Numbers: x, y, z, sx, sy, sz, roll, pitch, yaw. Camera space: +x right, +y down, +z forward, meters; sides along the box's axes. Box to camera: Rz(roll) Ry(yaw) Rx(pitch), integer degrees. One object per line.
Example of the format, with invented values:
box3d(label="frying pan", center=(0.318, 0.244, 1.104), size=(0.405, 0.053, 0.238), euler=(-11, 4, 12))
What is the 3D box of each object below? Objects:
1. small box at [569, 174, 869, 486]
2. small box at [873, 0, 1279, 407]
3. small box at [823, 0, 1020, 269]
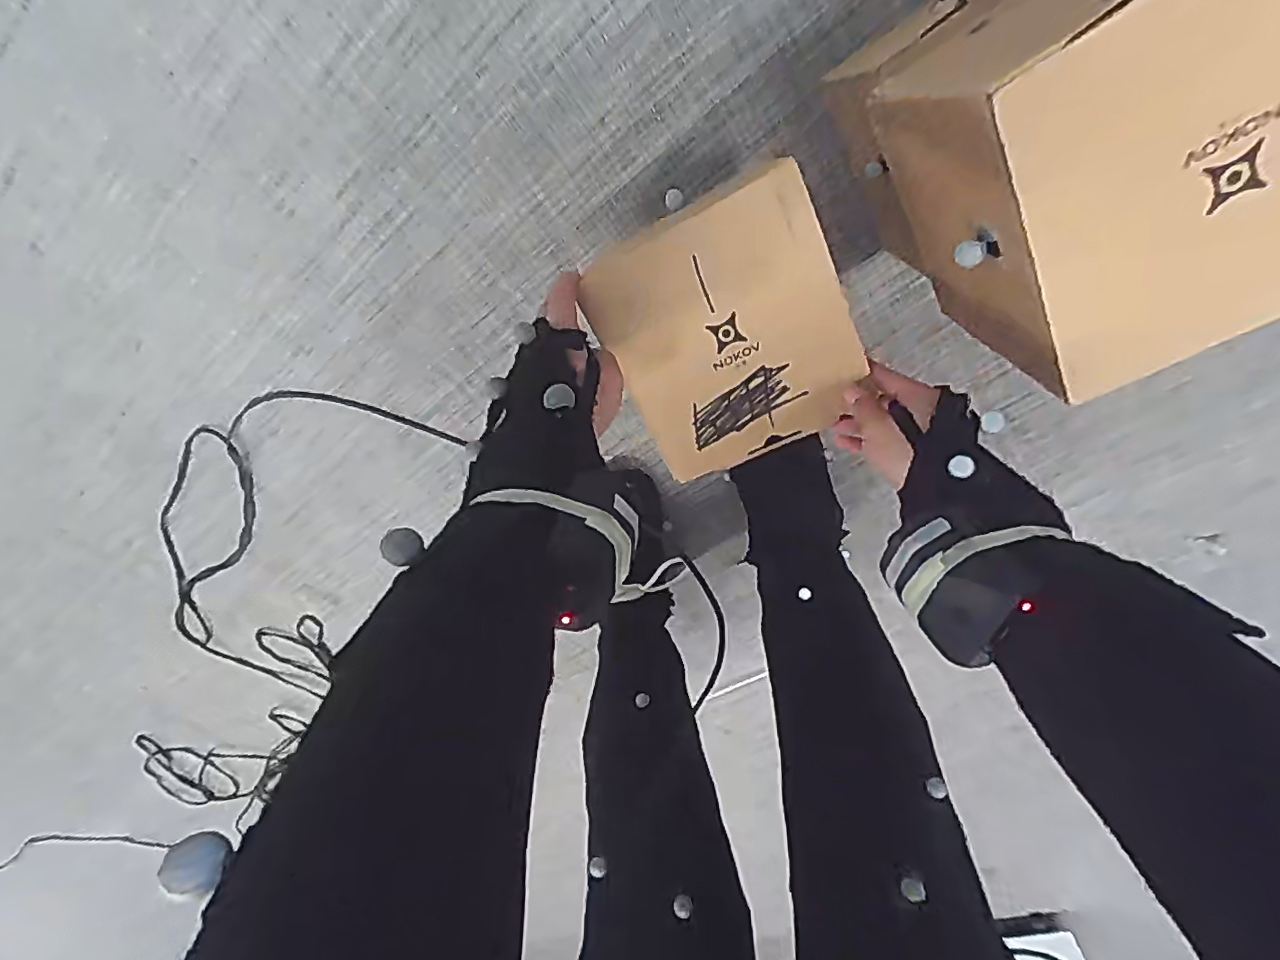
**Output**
box3d(label="small box", center=(0.065, -0.130, 0.455), size=(0.168, 0.176, 0.179), euler=(-24, 114, 14))
box3d(label="small box", center=(0.262, -0.179, 0.308), size=(0.168, 0.176, 0.179), euler=(-28, 118, 19))
box3d(label="small box", center=(0.270, -0.284, 0.434), size=(0.168, 0.176, 0.179), euler=(-28, 117, 19))
